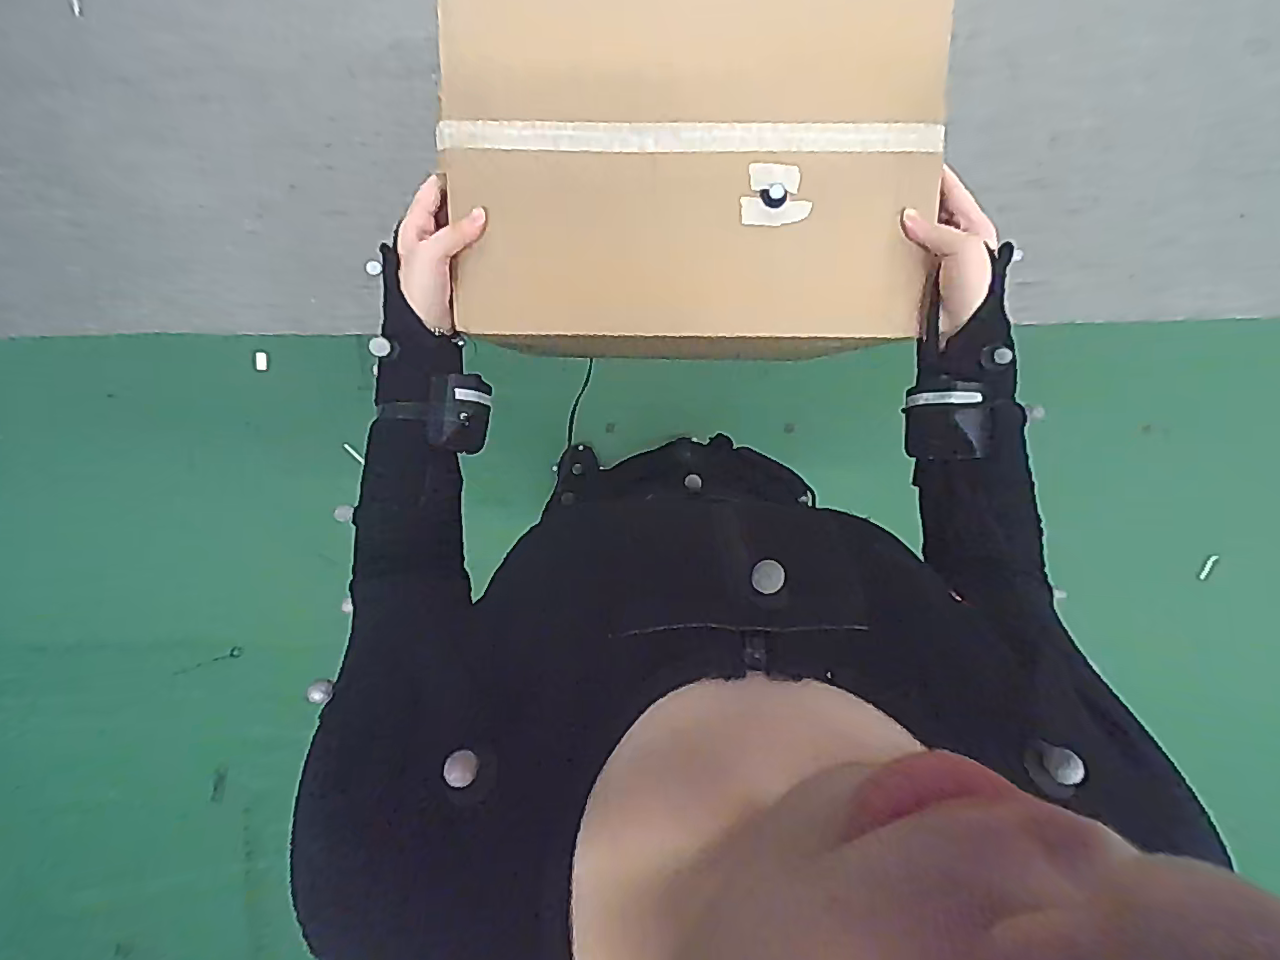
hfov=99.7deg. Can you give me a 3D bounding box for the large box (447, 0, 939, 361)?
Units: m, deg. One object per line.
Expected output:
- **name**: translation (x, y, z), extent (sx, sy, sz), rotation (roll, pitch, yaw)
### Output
- **large box**: translation (0.040, -0.302, 0.596), extent (0.408, 0.320, 0.320), rotation (0, 99, -2)
